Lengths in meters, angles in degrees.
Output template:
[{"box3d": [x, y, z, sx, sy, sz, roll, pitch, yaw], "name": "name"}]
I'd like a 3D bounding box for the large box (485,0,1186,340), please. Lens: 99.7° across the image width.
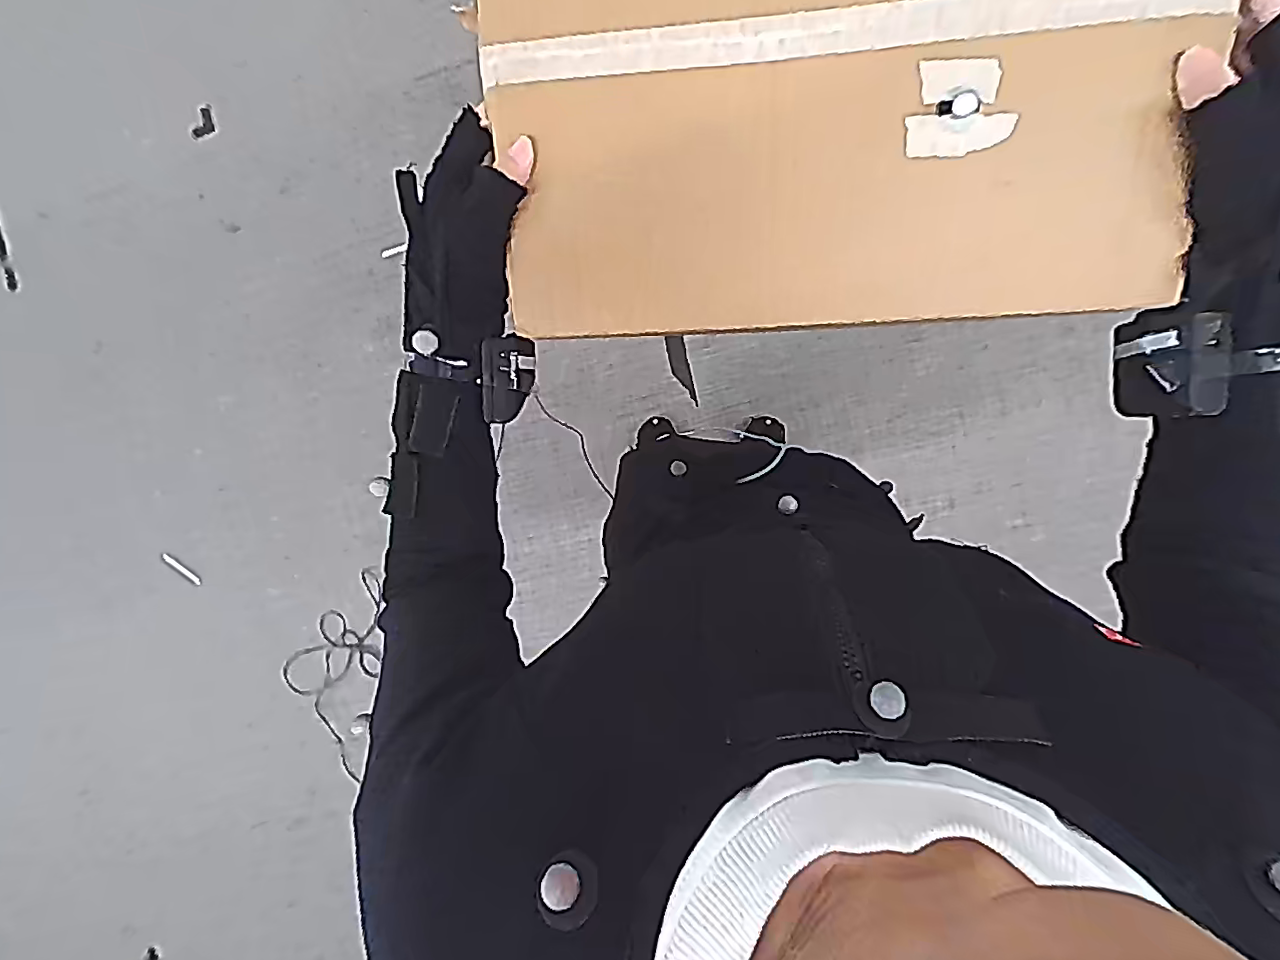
[{"box3d": [0.115, -0.294, 0.461, 0.408, 0.320, 0.320, -3, 105, 5], "name": "large box"}]
